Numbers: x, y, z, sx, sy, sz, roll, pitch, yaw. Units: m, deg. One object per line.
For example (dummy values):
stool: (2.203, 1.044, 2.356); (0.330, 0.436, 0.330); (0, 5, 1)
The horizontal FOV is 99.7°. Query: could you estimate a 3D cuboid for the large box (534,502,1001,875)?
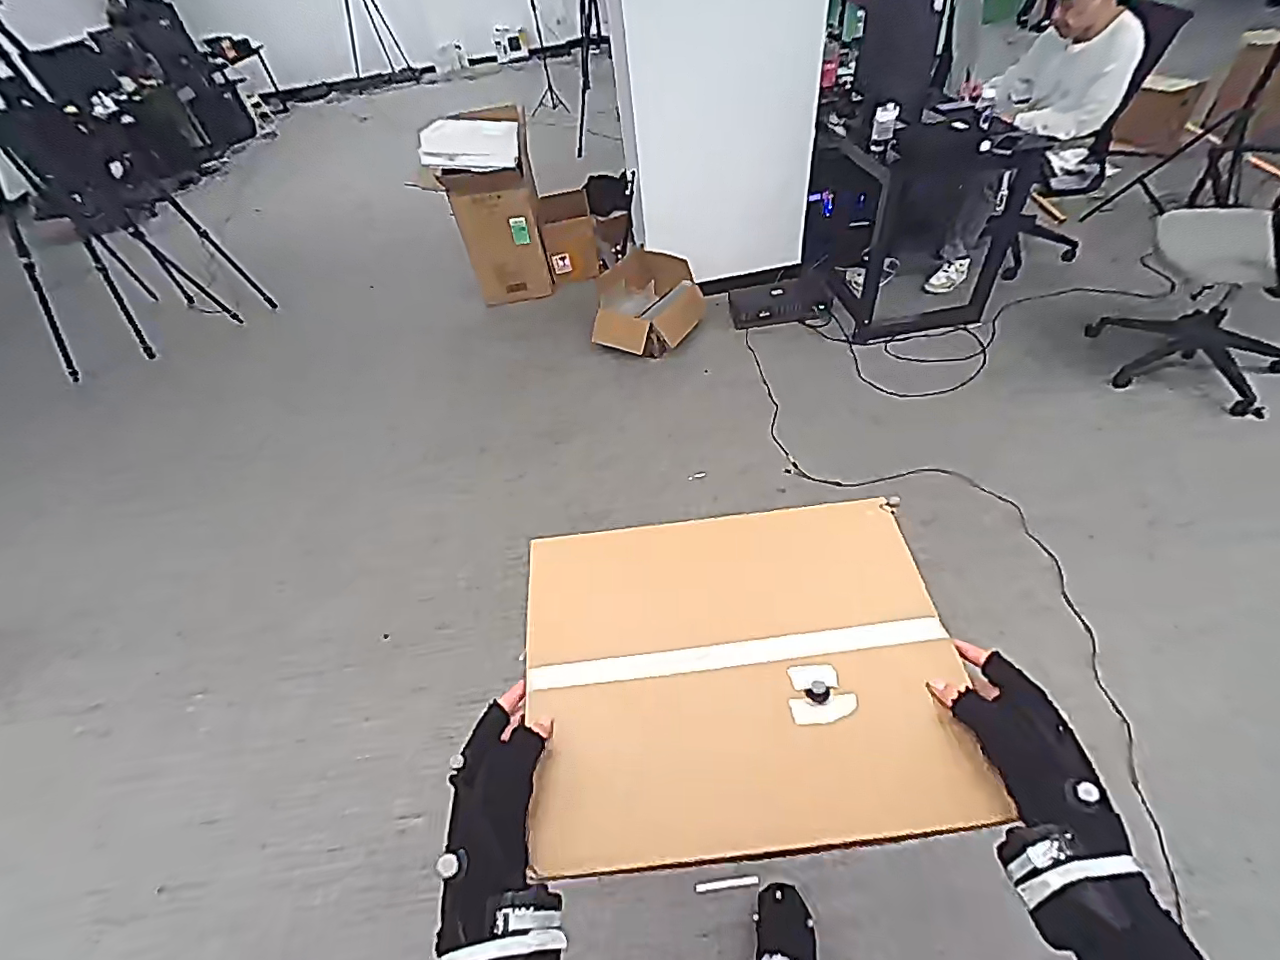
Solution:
large box: (0.102, 0.262, 0.656); (0.408, 0.320, 0.320); (-7, 54, 0)
